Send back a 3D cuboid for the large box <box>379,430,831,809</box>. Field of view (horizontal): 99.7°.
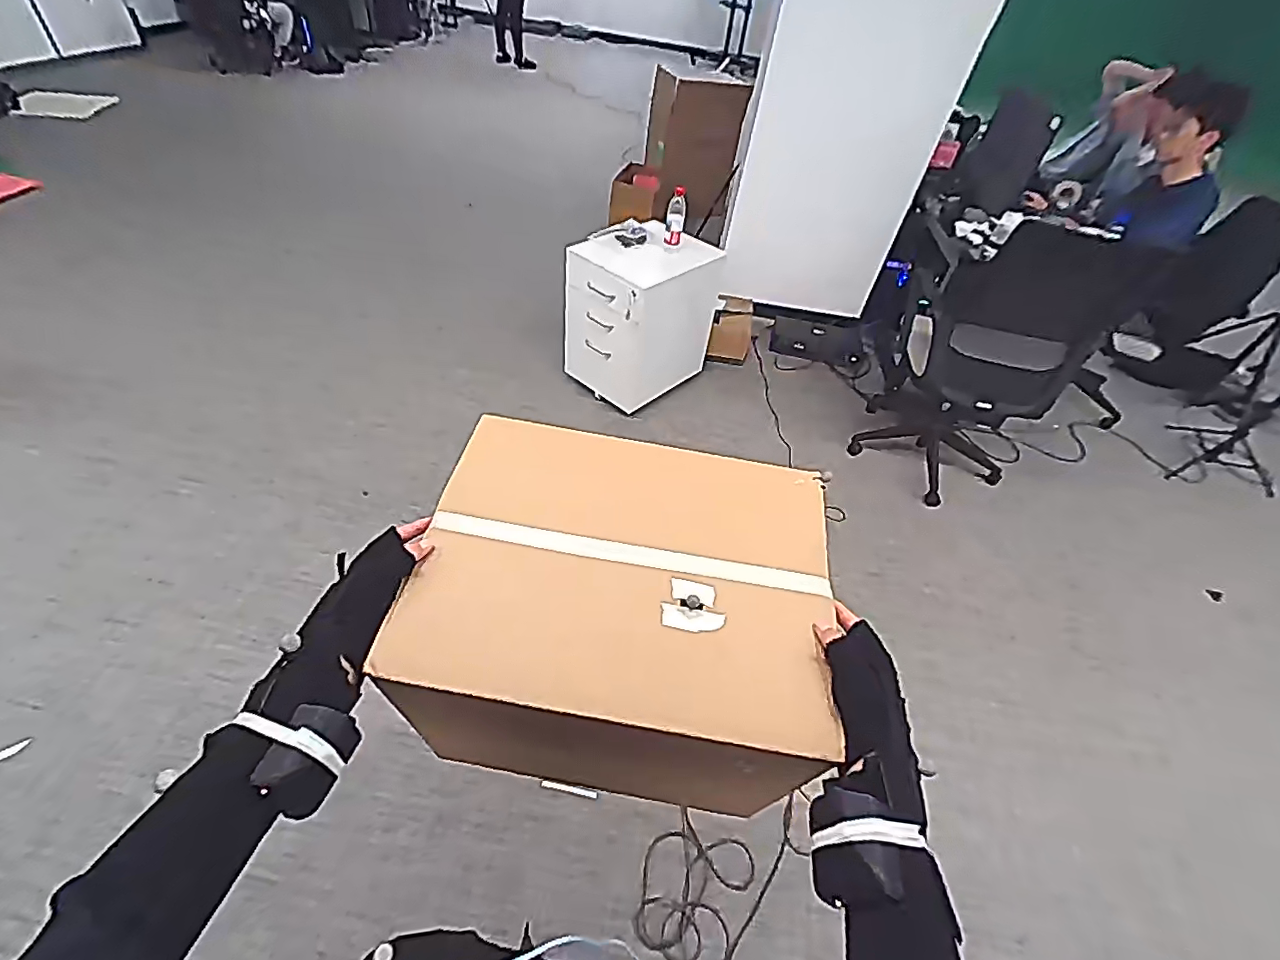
[{"bbox_3d":[-0.029,0.179,0.670,0.408,0.320,0.320,10,51,1],"label":"large box"}]
